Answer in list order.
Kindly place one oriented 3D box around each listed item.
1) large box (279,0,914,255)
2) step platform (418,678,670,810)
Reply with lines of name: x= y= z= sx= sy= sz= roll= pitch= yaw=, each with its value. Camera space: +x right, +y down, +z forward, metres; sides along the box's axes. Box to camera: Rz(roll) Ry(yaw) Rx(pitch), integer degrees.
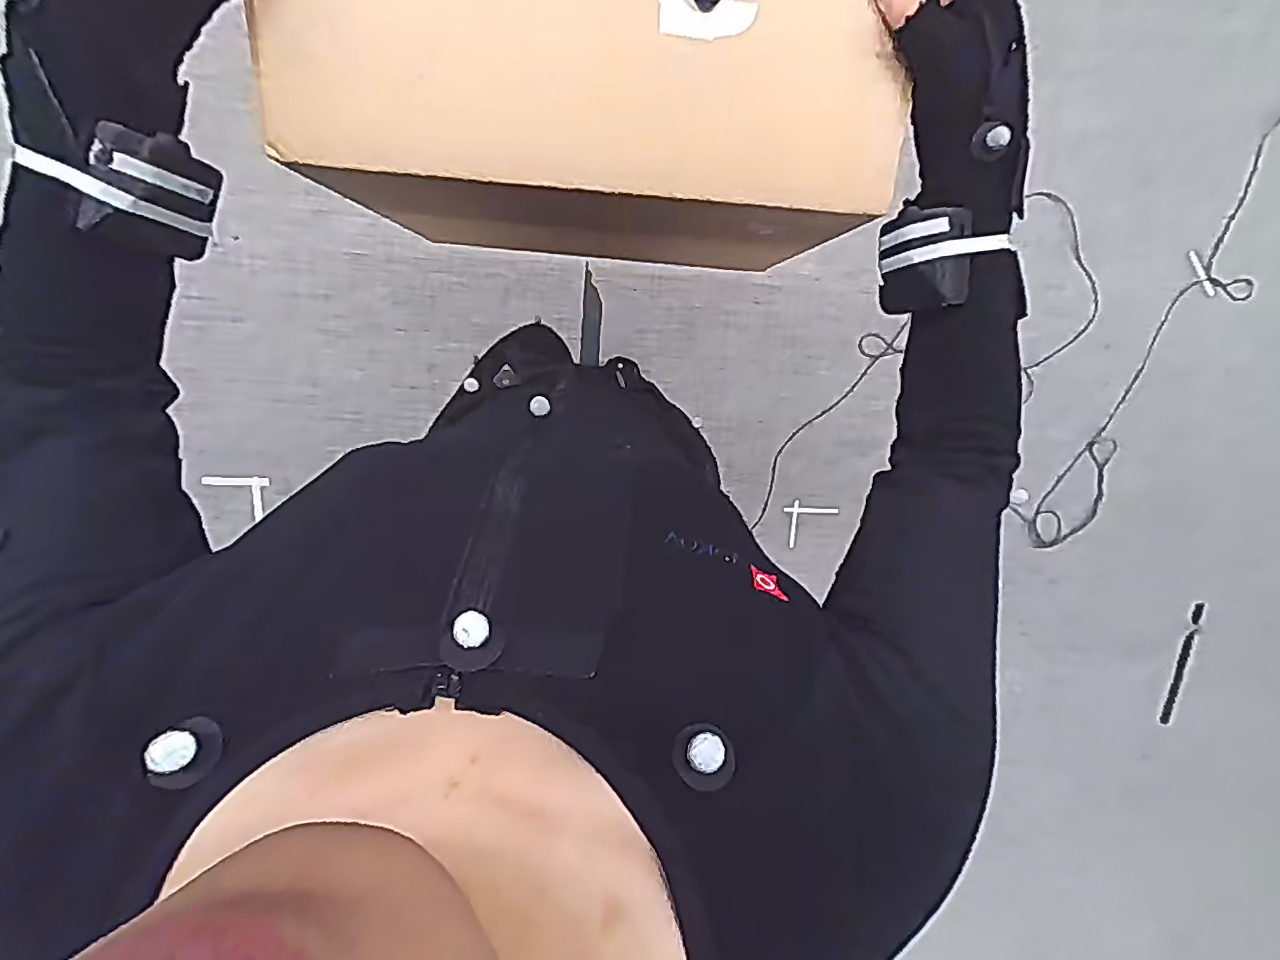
large box: x=-0.028 y=-0.391 z=0.468 sx=0.408 sy=0.320 sz=0.320 roll=3 pitch=105 yaw=-4
step platform: x=-0.257 y=0.740 z=1.519 sx=0.684 sy=0.204 sz=0.286 roll=2 pitch=100 yaw=-1
